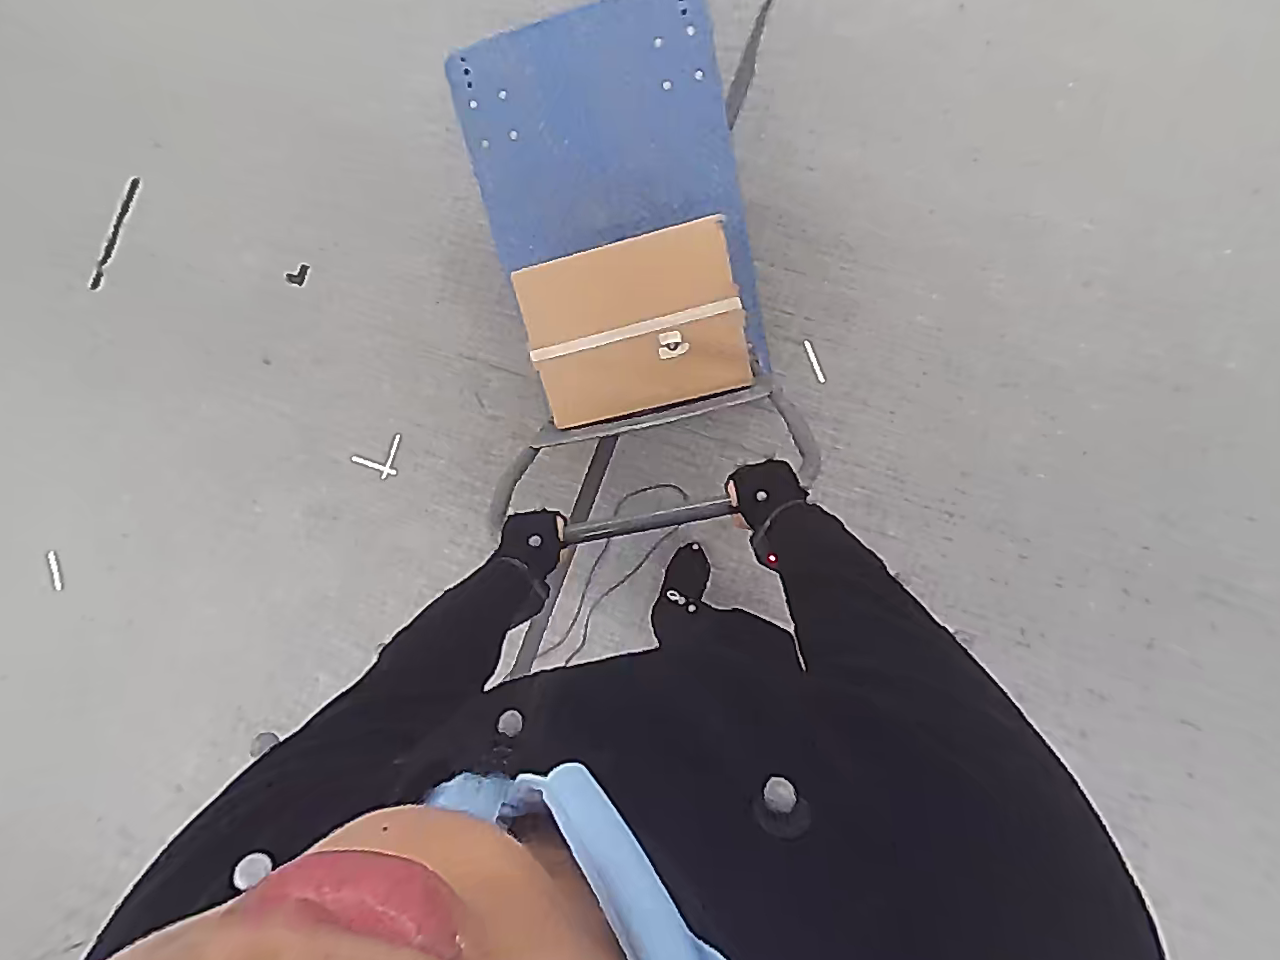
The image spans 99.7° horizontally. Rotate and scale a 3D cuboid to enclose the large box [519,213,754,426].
[{"bbox_3d":[0.003,-0.340,1.186,0.408,0.320,0.320,-13,107,8],"label":"large box"}]
